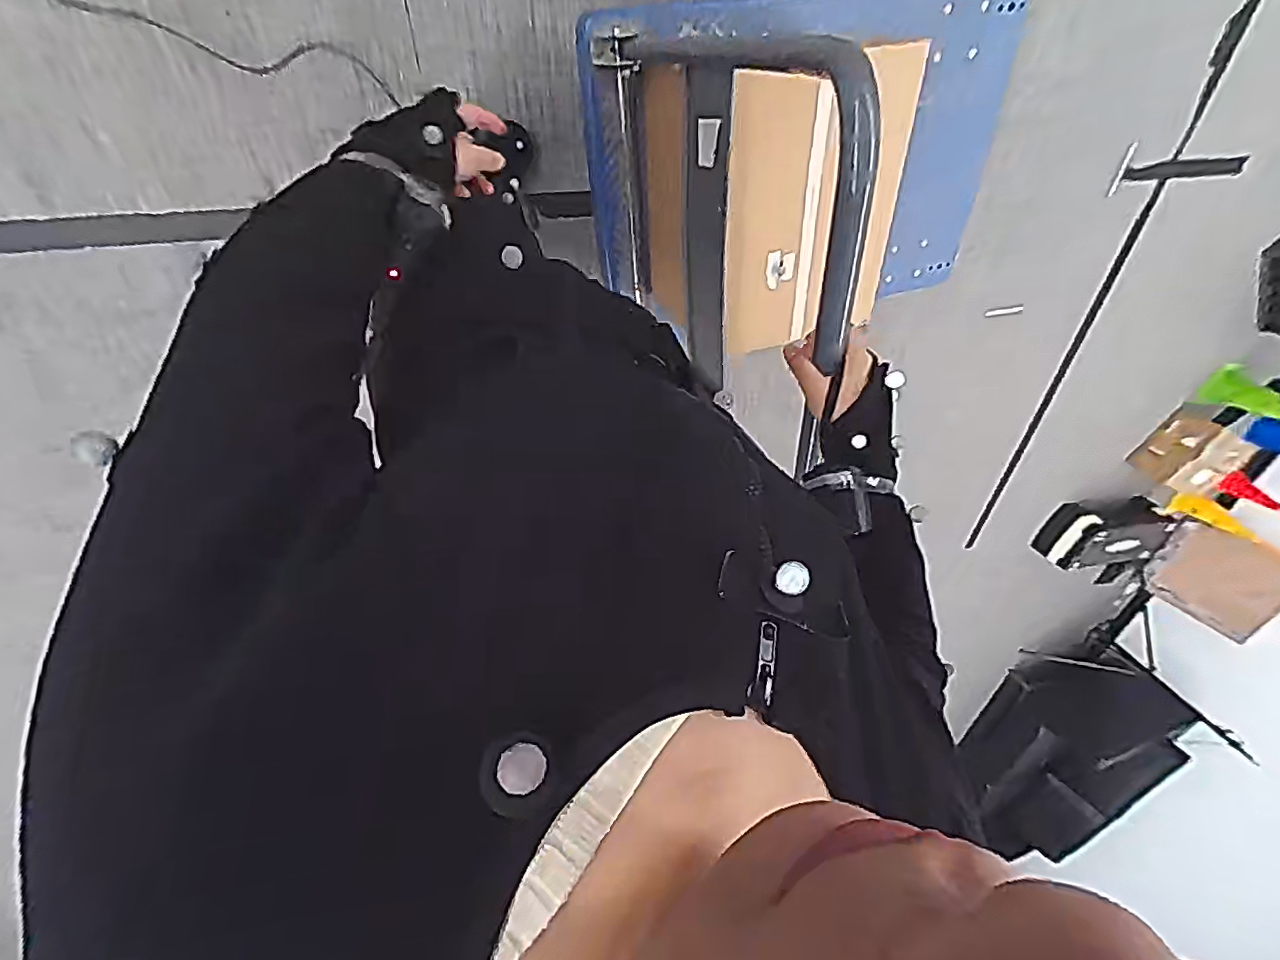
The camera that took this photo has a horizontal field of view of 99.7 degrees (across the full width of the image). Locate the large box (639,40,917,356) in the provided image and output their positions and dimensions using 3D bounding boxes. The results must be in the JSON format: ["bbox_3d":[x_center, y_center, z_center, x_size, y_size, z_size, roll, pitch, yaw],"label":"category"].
[{"bbox_3d":[0.201,-0.490,0.937,0.320,0.320,0.408,-15,132,-11],"label":"large box"}]
